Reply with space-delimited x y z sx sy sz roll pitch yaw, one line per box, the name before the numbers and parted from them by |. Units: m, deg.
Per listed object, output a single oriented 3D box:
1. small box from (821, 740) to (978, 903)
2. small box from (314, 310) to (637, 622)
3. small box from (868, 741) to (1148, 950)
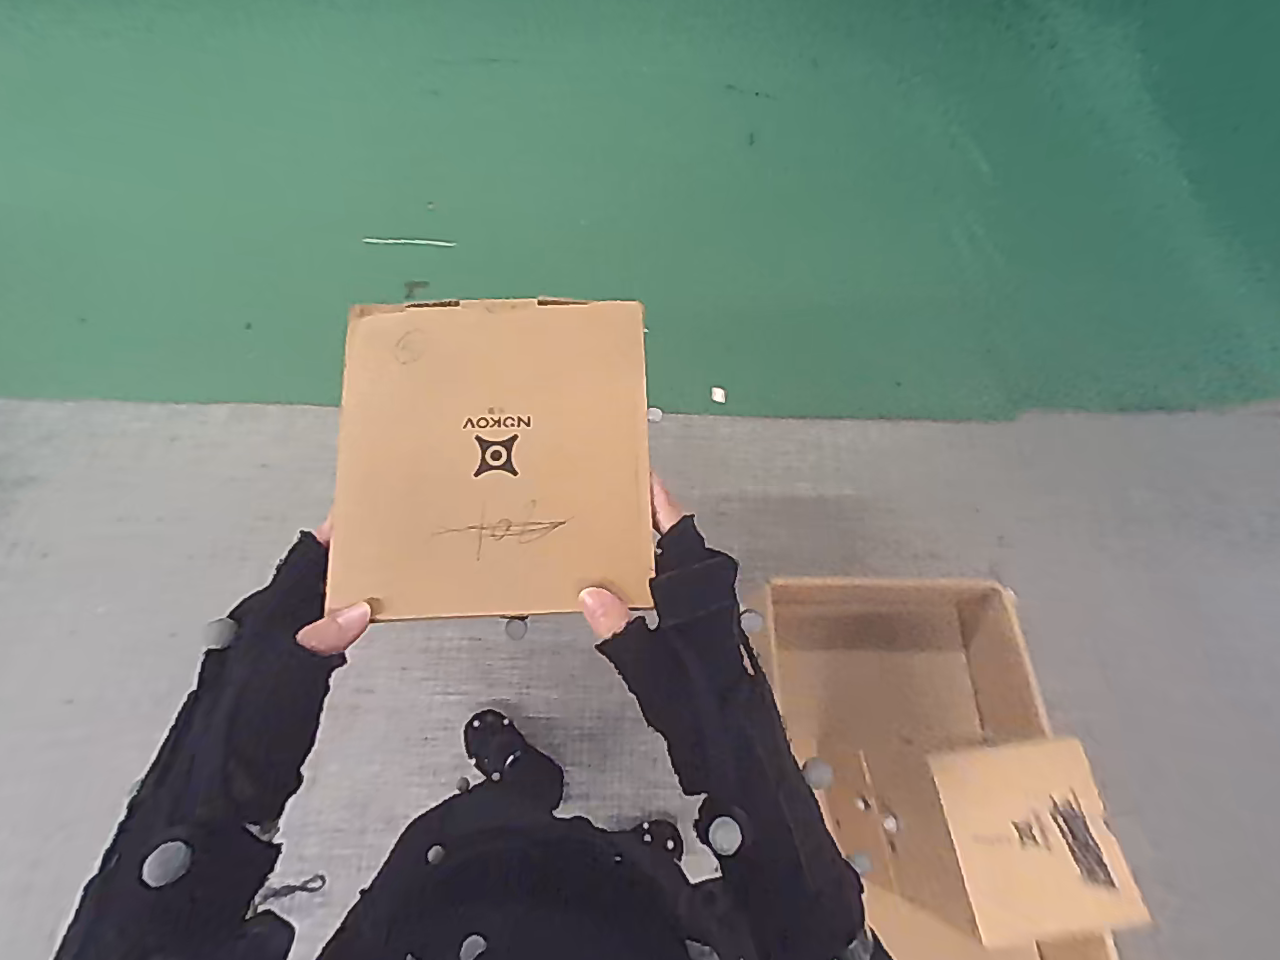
small box | 0.386 0.469 0.769 0.179 0.176 0.168 -5 63 -6
small box | -0.091 0.005 0.375 0.168 0.176 0.179 -3 76 -3
small box | 0.396 0.398 0.621 0.179 0.176 0.168 -5 64 -4
